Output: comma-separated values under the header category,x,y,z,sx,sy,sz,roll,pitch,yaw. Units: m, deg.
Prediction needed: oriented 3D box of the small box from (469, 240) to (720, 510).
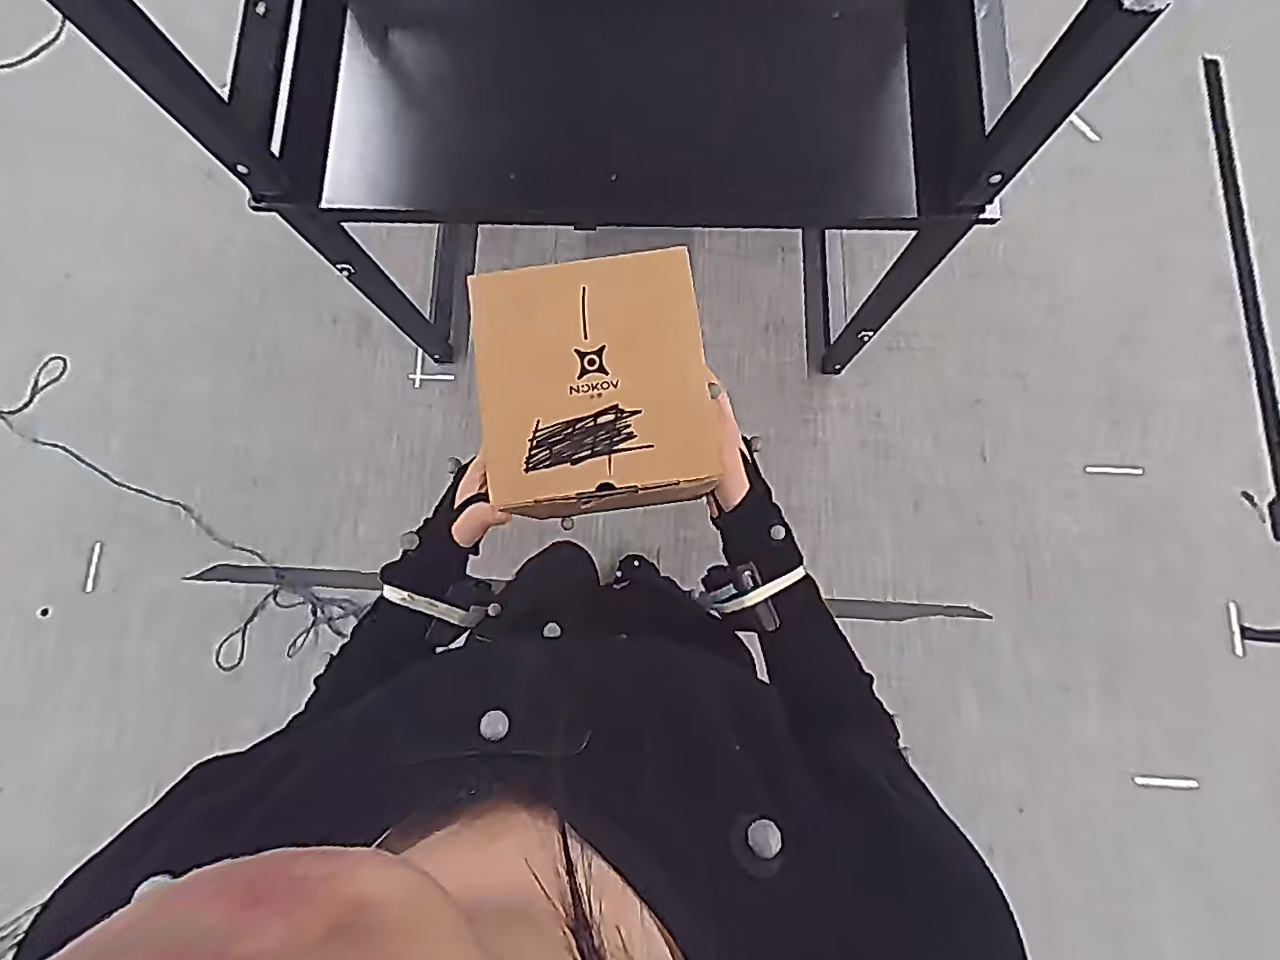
category,x,y,z,sx,sy,sz,roll,pitch,yaw
small box,-0.032,-0.070,0.462,0.168,0.176,0.179,-8,83,0
